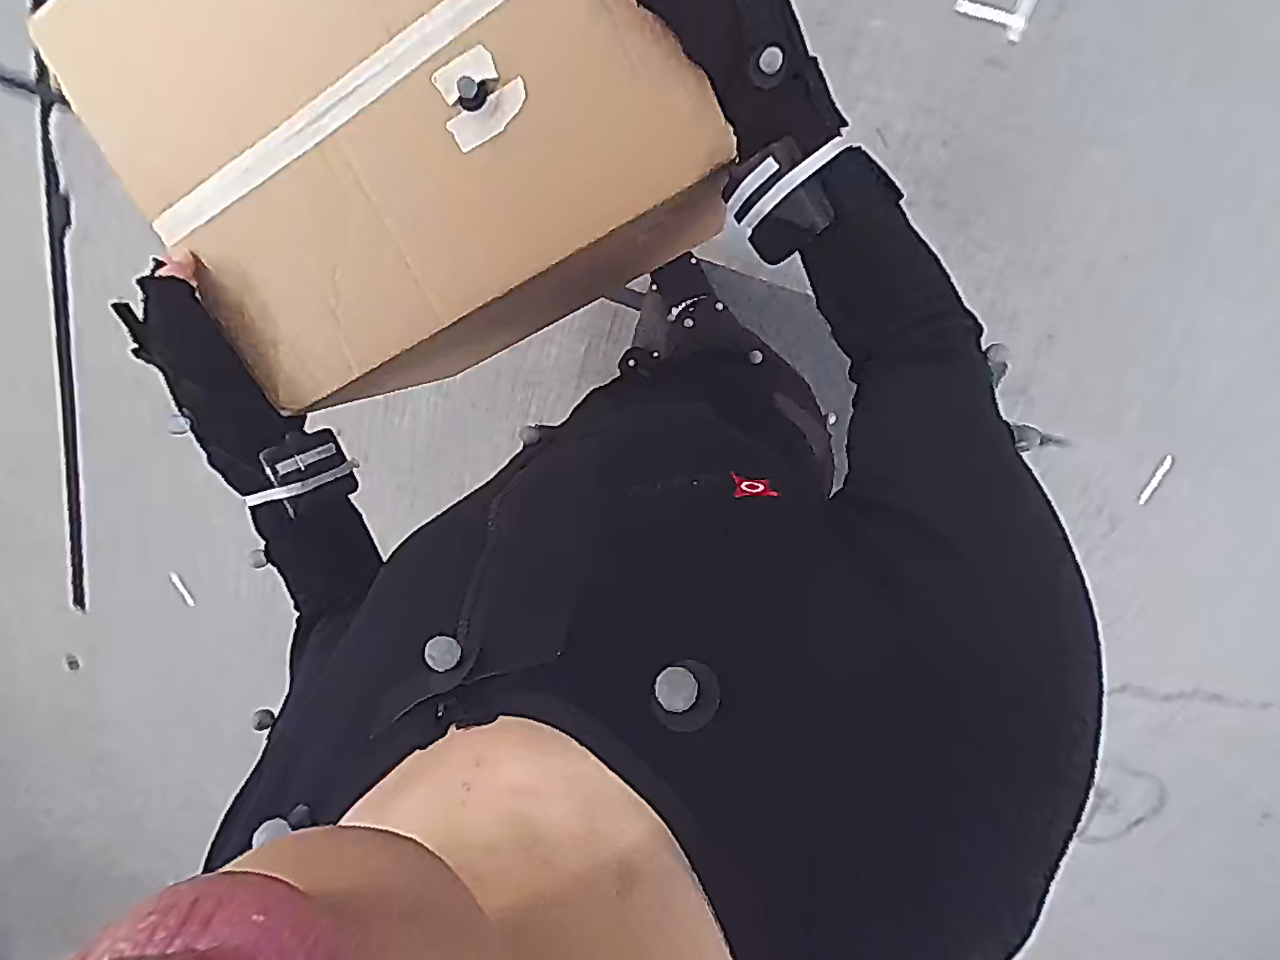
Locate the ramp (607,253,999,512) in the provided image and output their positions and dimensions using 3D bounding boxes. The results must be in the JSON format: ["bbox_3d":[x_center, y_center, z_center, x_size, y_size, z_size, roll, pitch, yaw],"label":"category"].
[{"bbox_3d":[0.448,-0.242,1.478,0.991,0.206,0.509,16,108,1],"label":"ramp"}]

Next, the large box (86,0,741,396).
[{"bbox_3d":[-0.153,-0.318,0.525,0.408,0.320,0.320,-24,102,12],"label":"large box"}]
